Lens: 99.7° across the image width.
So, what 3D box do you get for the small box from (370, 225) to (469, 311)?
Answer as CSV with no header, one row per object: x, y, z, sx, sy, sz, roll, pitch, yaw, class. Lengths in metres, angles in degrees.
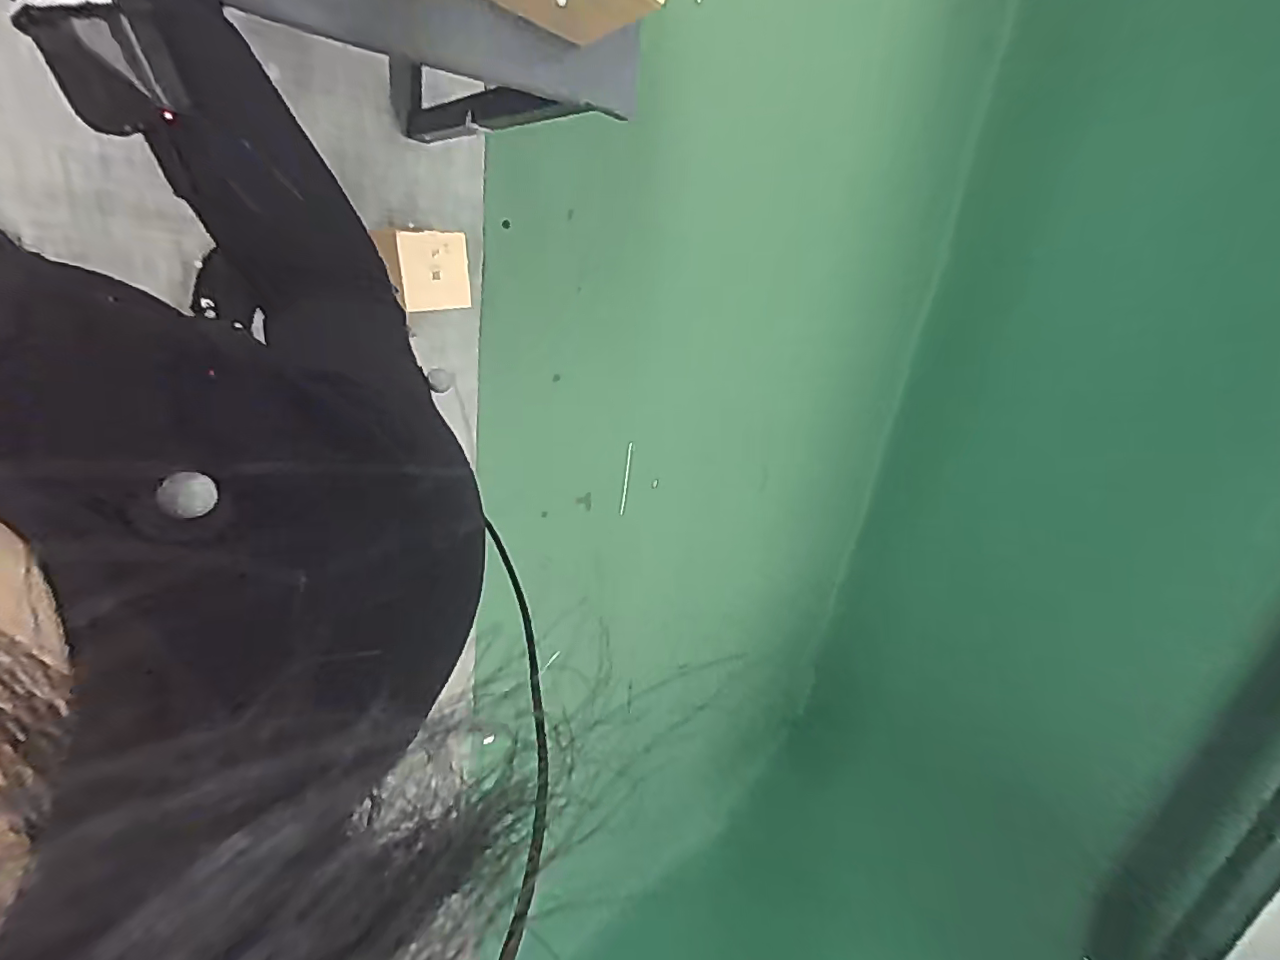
-0.535,-0.518,1.317,0.168,0.176,0.179,-20,123,-39,small box

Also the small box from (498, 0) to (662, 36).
-0.083,-0.638,0.602,0.179,0.176,0.168,-9,112,-41,small box
